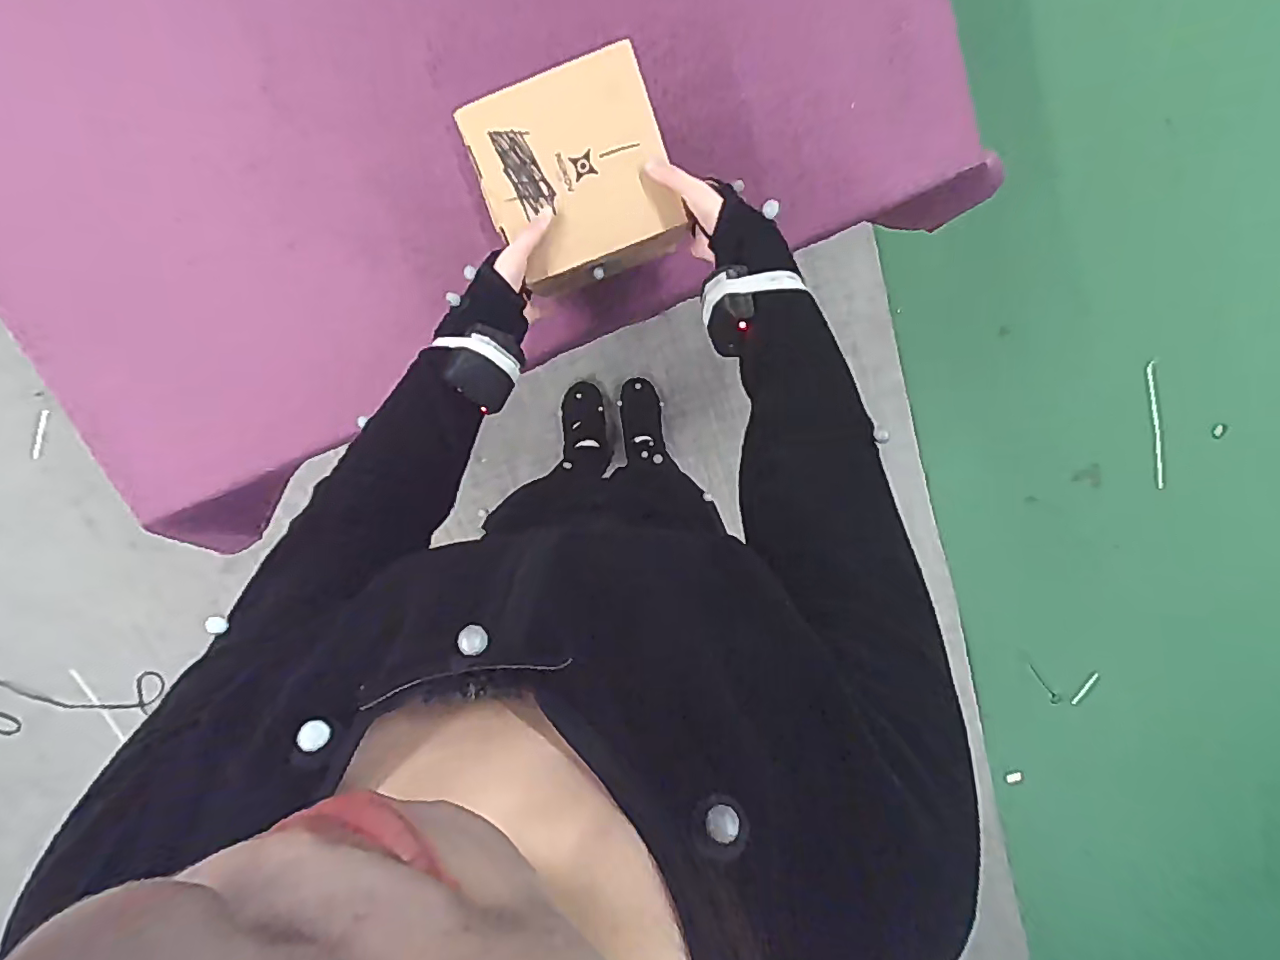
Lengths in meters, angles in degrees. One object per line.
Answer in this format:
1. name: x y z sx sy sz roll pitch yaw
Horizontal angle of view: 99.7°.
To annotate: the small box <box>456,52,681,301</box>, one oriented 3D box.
1. small box: -0.068 -0.309 0.595 0.179 0.176 0.168 -20 104 2
